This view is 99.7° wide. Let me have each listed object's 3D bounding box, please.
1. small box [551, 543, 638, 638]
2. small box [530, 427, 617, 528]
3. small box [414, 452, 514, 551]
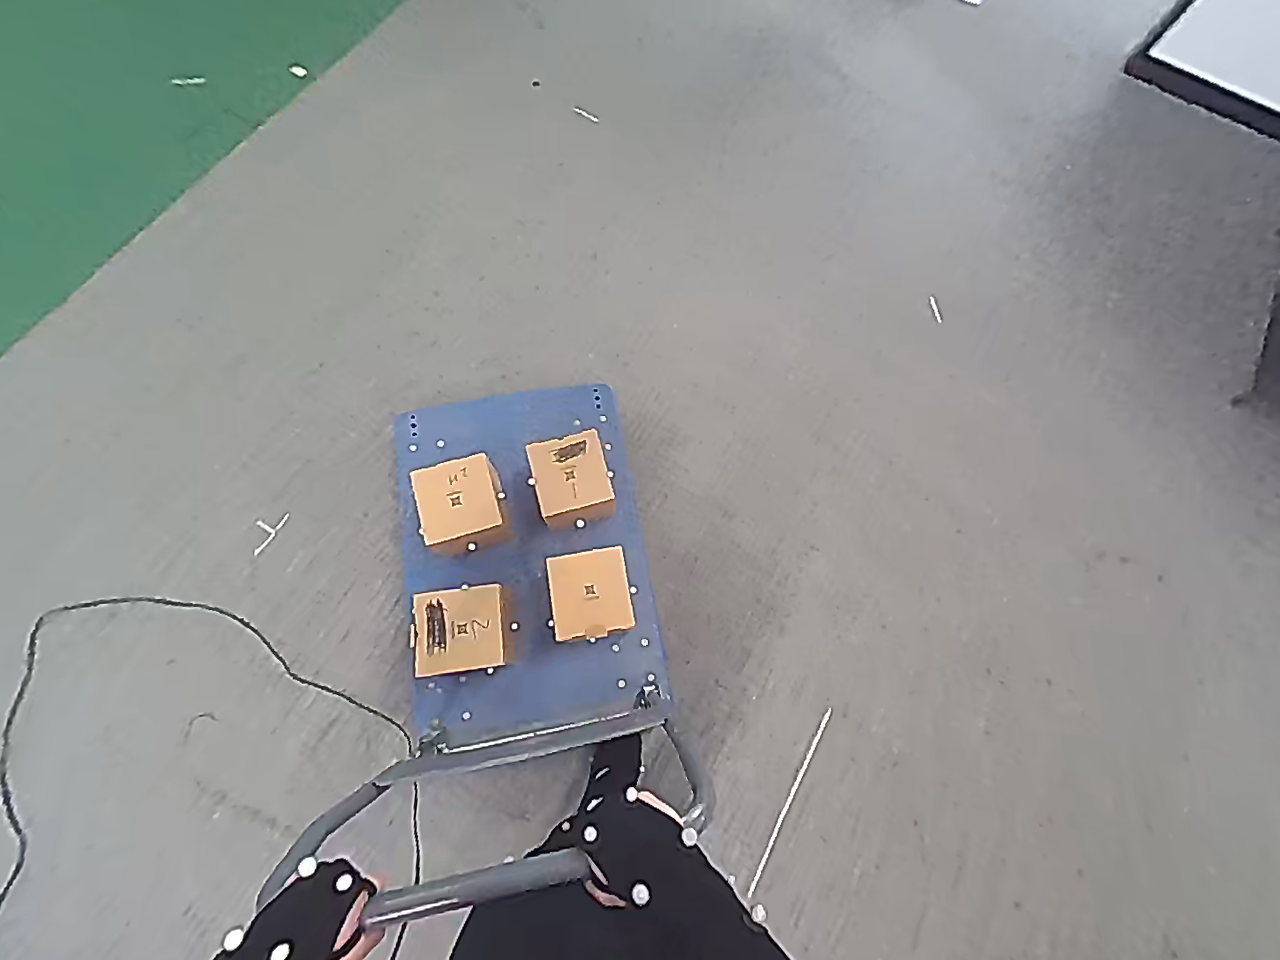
[{"bbox_3d":[-0.104,0.253,1.215,0.168,0.176,0.179,-9,74,-6],"label":"small box"},{"bbox_3d":[-0.156,-0.001,1.287,0.168,0.176,0.179,-14,75,-7],"label":"small box"},{"bbox_3d":[-0.400,0.058,1.254,0.168,0.176,0.179,-16,75,-9],"label":"small box"}]
